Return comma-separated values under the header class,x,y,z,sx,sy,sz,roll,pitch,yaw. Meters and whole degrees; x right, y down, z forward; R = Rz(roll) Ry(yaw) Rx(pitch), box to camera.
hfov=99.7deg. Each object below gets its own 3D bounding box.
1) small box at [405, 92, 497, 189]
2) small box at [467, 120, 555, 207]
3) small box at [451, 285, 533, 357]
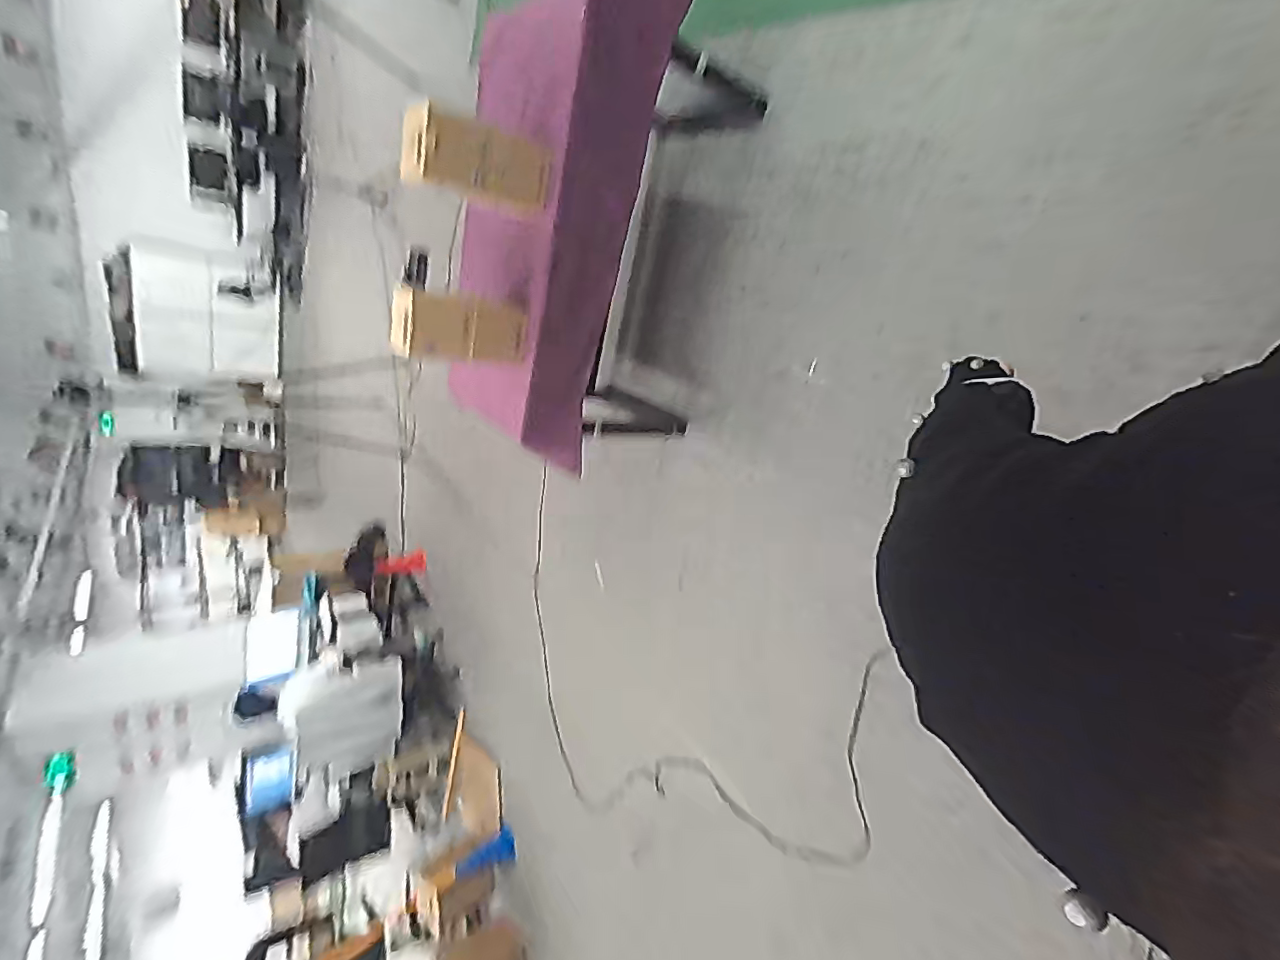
class,x,y,z,sx,sy,sz,roll,pitch,yaw
small box,-0.480,-0.853,1.372,0.179,0.176,0.168,32,116,44
small box,-0.355,-0.859,1.479,0.179,0.176,0.168,33,118,44
small box,-0.444,-0.471,1.614,0.179,0.176,0.168,33,118,42
